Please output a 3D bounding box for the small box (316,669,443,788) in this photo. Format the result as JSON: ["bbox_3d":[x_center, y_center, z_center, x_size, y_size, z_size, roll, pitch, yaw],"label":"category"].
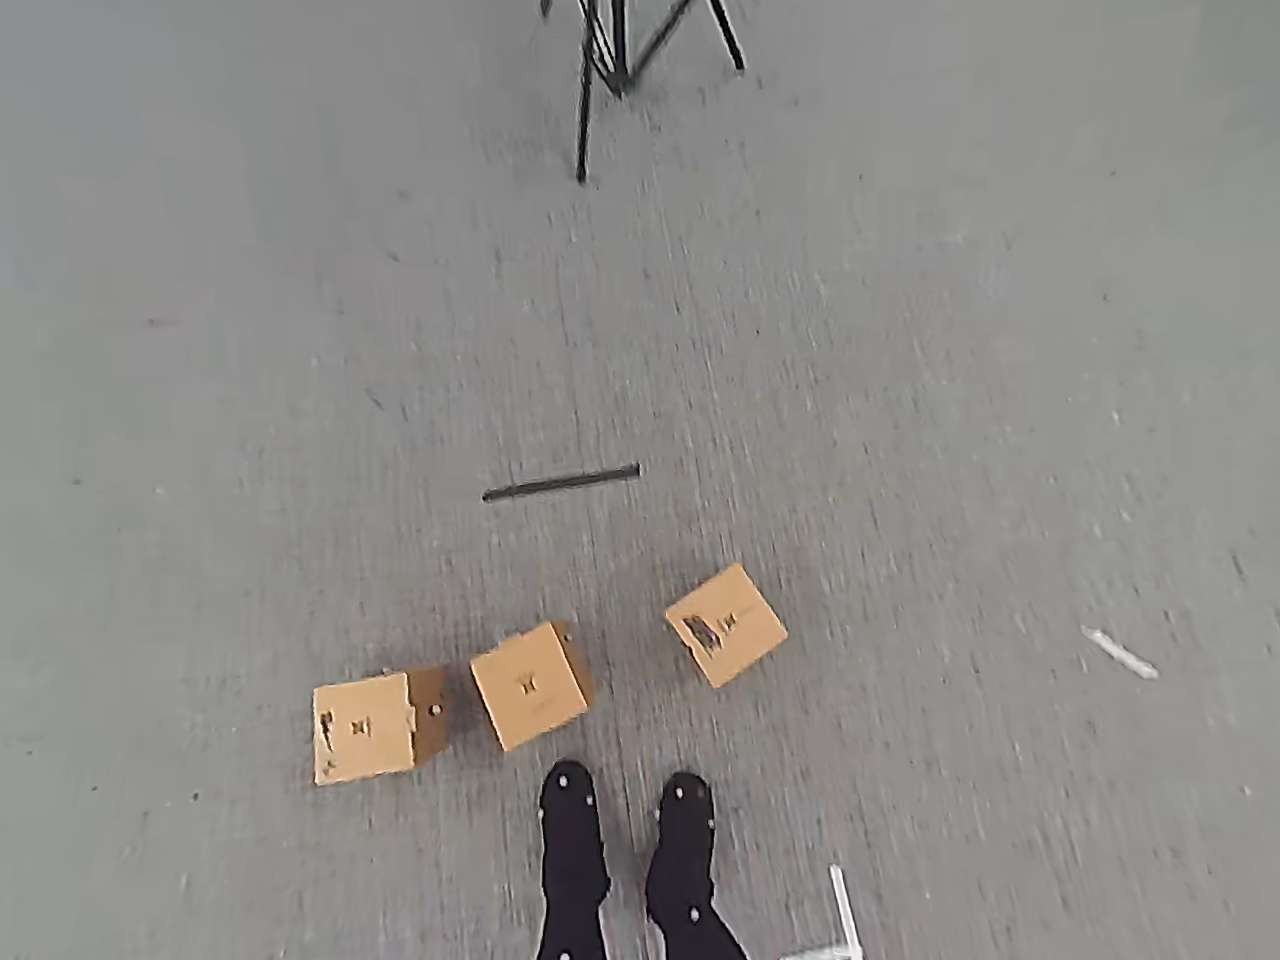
[{"bbox_3d":[-0.490,0.465,1.040,0.179,0.176,0.168,-9,75,-2],"label":"small box"}]

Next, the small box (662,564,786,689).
[{"bbox_3d":[0.158,0.291,1.083,0.179,0.176,0.168,-32,78,-9],"label":"small box"}]

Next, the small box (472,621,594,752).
[{"bbox_3d":[-0.201,0.393,1.058,0.168,0.176,0.179,-26,77,-5],"label":"small box"}]
